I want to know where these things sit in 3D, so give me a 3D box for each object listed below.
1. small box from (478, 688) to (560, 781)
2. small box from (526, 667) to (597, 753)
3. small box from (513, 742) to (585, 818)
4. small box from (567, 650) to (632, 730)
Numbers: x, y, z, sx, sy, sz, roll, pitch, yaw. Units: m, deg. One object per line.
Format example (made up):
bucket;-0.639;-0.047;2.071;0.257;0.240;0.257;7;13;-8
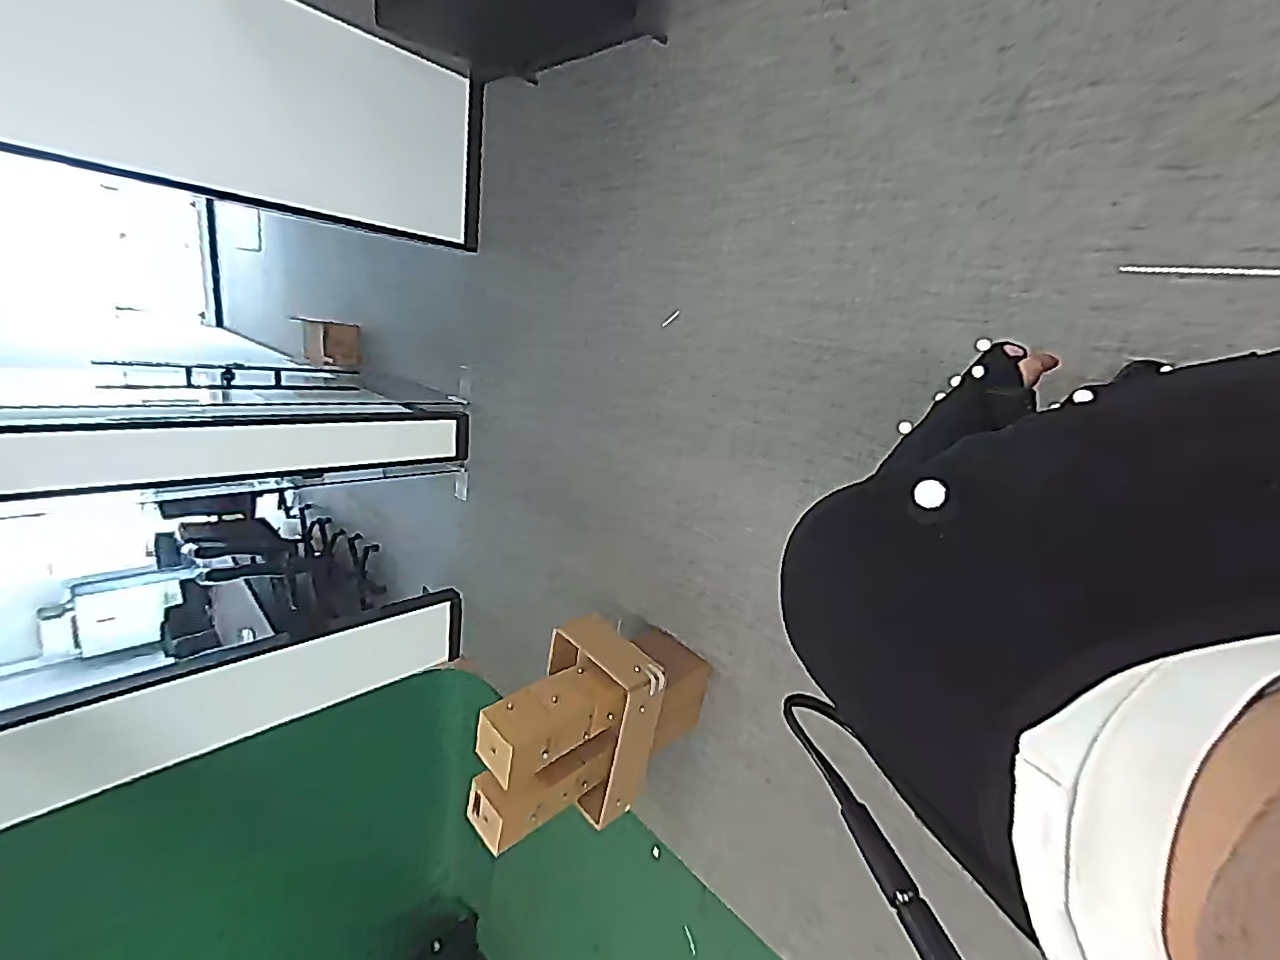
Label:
small box;-0.373;0.769;1.664;0.179;0.176;0.168;28;115;37
small box;-0.263;0.748;1.784;0.179;0.176;0.168;27;115;39
small box;-0.313;1.005;1.870;0.179;0.176;0.168;28;114;37
small box;-0.150;0.730;1.901;0.179;0.176;0.168;28;115;38
